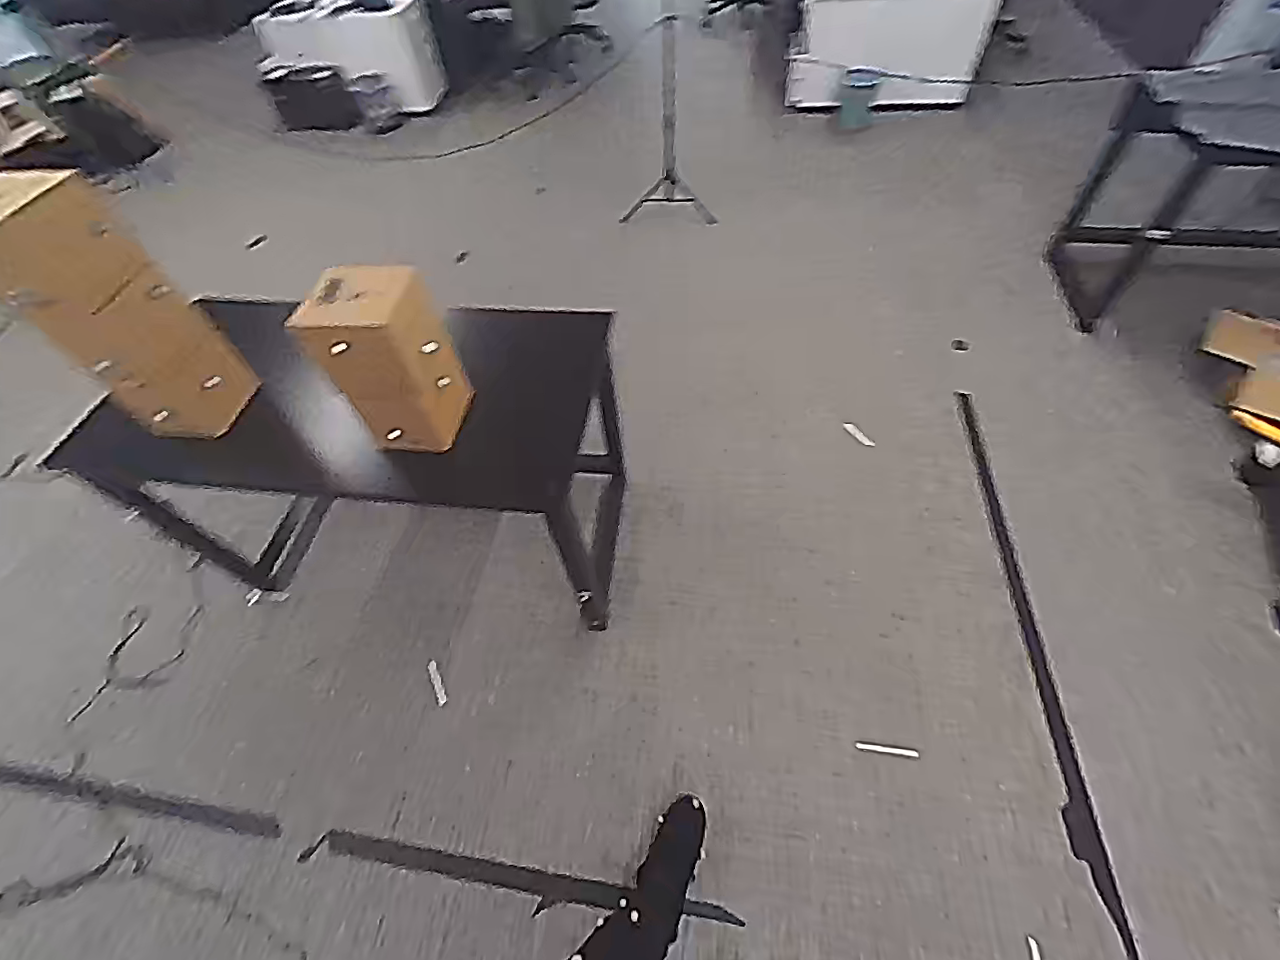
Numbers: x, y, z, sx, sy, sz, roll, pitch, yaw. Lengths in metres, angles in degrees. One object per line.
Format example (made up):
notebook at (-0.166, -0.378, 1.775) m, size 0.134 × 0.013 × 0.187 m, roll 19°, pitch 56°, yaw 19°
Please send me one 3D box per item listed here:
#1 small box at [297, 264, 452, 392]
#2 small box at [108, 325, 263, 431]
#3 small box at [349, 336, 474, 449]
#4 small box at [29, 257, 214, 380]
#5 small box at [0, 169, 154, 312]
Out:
small box at (-0.481, -0.280, 1.009) m, size 0.179 × 0.176 × 0.168 m, roll 2°, pitch 55°, yaw 5°
small box at (-1.001, -0.227, 1.213) m, size 0.168 × 0.176 × 0.179 m, roll 3°, pitch 55°, yaw 6°
small box at (-0.470, -0.190, 1.146) m, size 0.168 × 0.176 × 0.179 m, roll 4°, pitch 55°, yaw 7°
small box at (-1.011, -0.324, 1.080) m, size 0.168 × 0.176 × 0.179 m, roll 3°, pitch 55°, yaw 8°
small box at (-1.020, -0.418, 0.947) m, size 0.168 × 0.176 × 0.179 m, roll 3°, pitch 55°, yaw 8°
